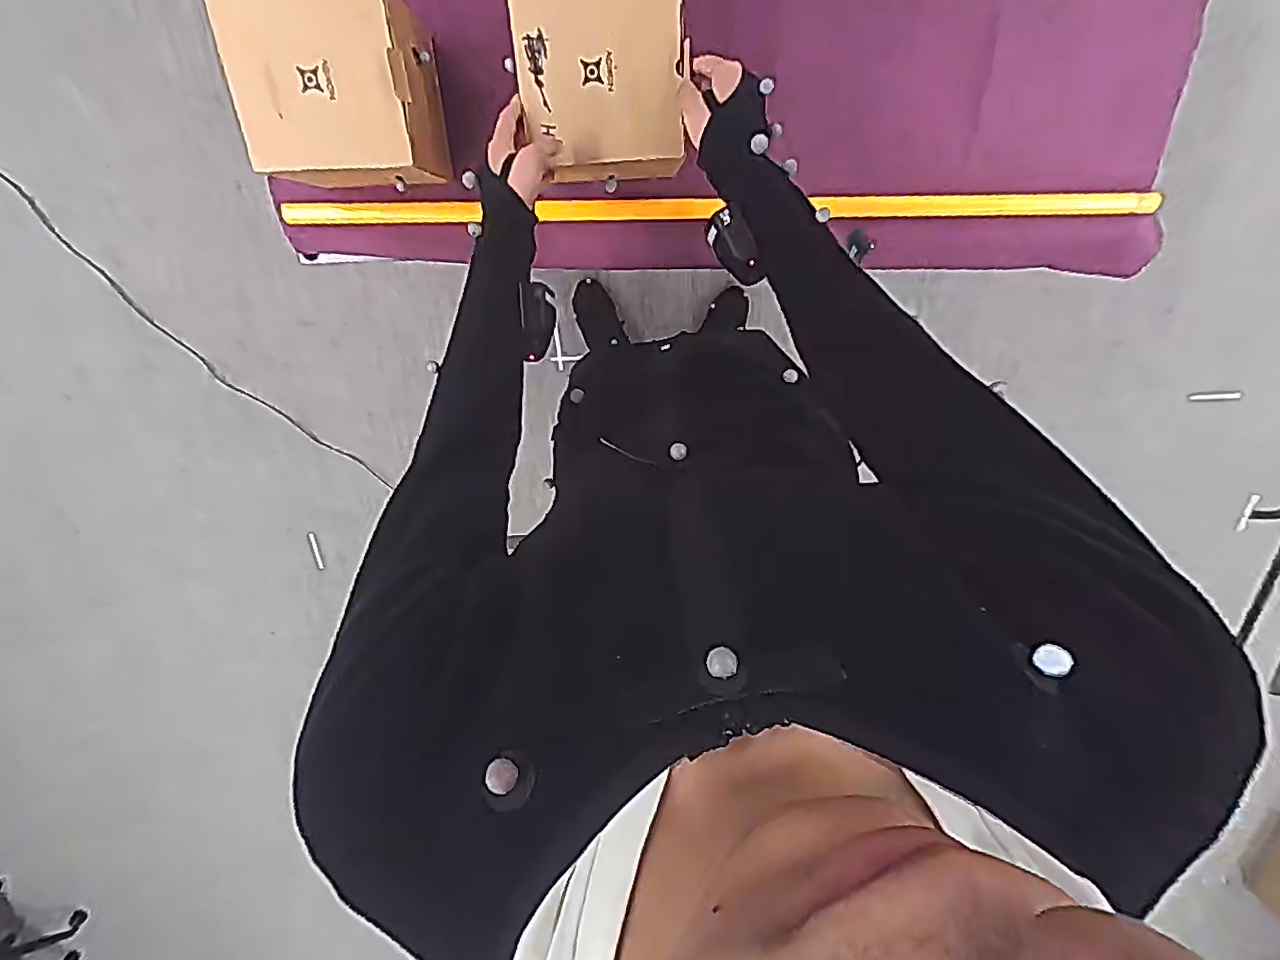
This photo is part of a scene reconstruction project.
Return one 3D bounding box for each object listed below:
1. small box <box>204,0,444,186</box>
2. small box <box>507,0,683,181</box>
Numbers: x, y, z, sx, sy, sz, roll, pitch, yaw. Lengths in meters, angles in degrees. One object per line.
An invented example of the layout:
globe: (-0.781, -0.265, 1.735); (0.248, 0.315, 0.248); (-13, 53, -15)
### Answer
small box: (-0.341, -0.445, 0.629); (0.179, 0.176, 0.168); (-4, 113, -2)
small box: (-0.046, -0.455, 0.635); (0.179, 0.176, 0.168); (-3, 113, 0)
